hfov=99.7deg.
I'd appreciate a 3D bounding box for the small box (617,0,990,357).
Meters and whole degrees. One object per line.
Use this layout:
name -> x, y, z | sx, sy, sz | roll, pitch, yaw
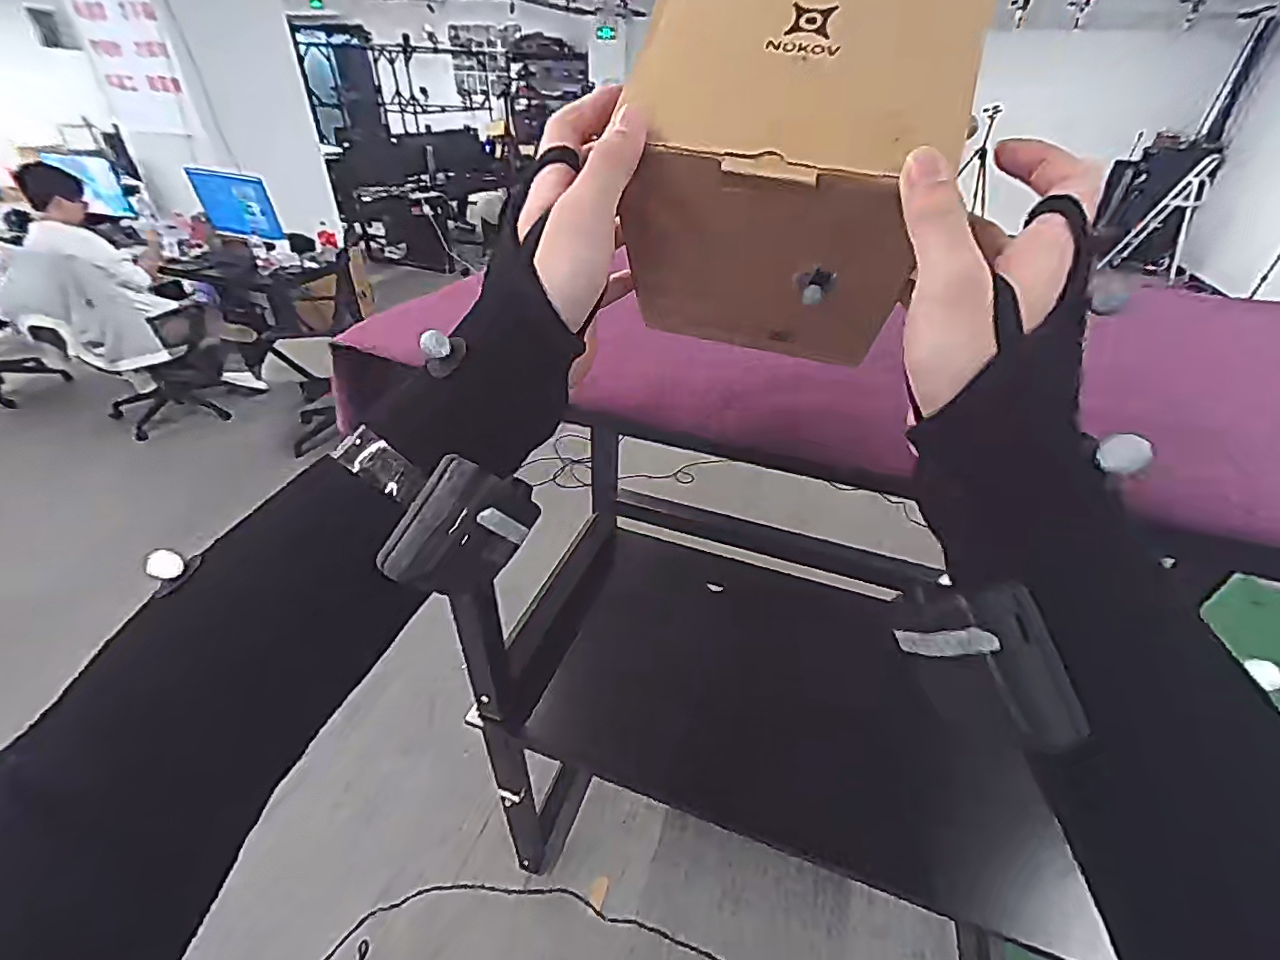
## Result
small box -> 0.099, -0.206, 0.355 | 0.168, 0.176, 0.179 | 15, 74, 11
